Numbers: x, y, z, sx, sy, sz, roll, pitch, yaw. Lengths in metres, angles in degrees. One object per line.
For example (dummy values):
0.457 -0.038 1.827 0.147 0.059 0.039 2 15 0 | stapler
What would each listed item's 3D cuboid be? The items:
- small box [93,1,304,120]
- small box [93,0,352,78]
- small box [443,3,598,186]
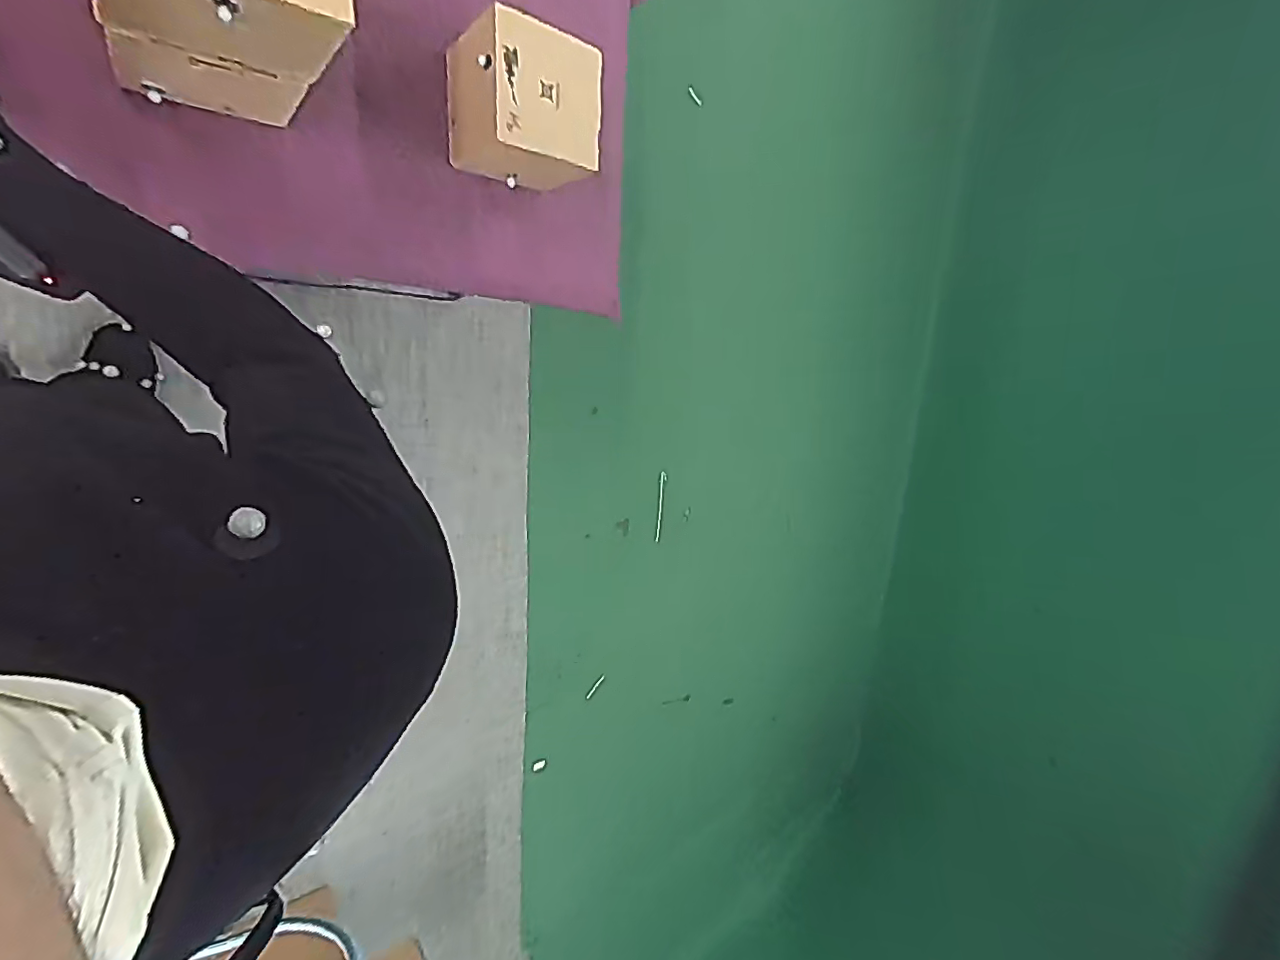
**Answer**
-0.479 -0.522 0.582 0.168 0.176 0.179 -11 108 -40 | small box
-0.371 -0.485 0.464 0.179 0.176 0.168 -11 110 -41 | small box
-0.185 -0.571 0.835 0.179 0.176 0.168 -9 107 -41 | small box
